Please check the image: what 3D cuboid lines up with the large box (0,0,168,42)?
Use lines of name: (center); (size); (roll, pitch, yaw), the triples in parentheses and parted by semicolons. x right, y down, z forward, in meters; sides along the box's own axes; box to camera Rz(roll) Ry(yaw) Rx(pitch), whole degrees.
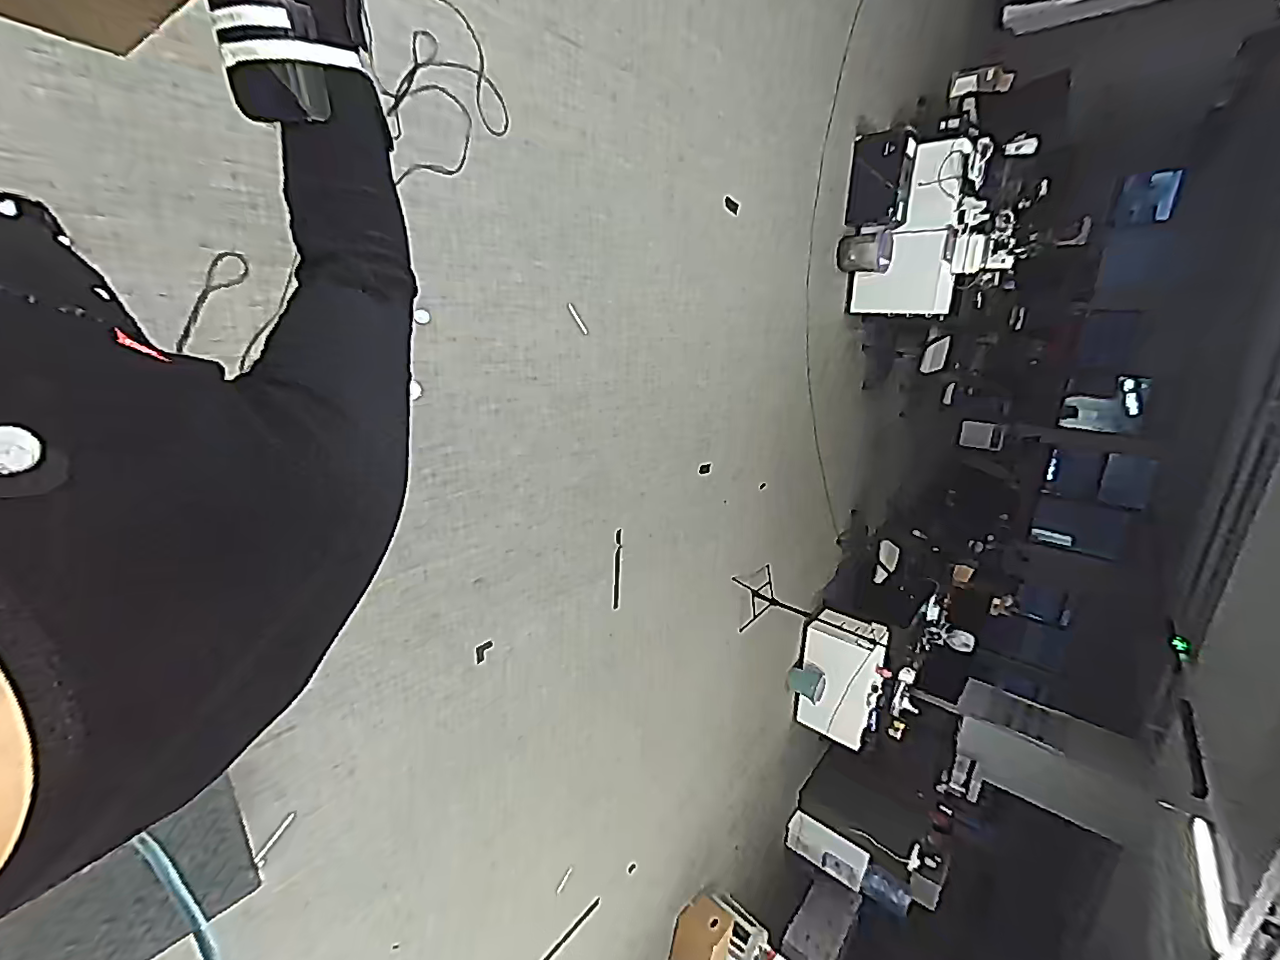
large box: (-0.461, -0.466, 0.211); (0.408, 0.320, 0.320); (-13, 117, -50)
